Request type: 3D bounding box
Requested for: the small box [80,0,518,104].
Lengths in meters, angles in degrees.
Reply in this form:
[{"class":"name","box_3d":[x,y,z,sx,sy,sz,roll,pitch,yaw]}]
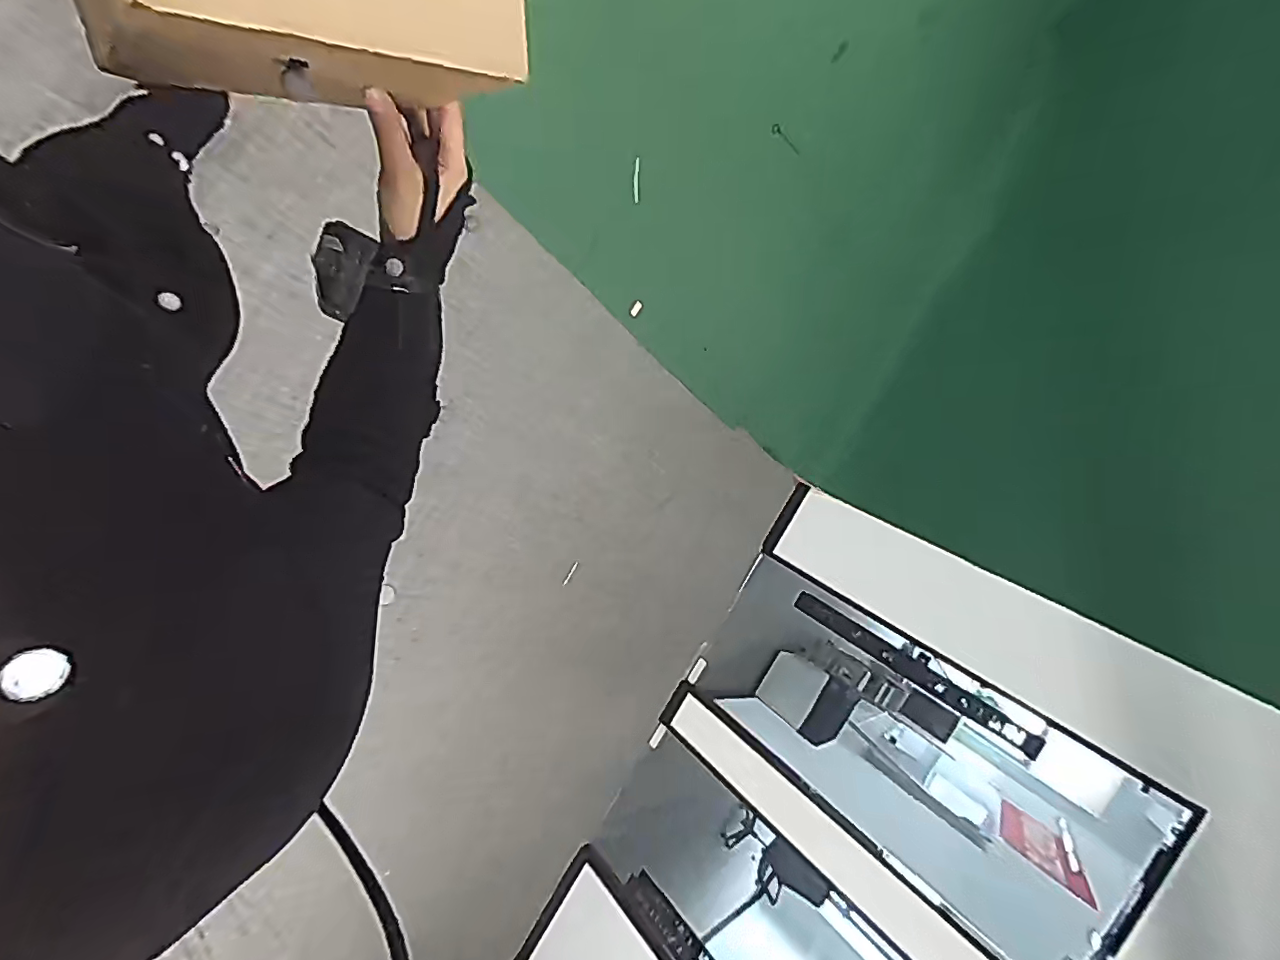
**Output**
[{"class":"small box","box_3d":[-0.186,-0.304,0.271,0.179,0.176,0.168,-22,125,-39]}]
